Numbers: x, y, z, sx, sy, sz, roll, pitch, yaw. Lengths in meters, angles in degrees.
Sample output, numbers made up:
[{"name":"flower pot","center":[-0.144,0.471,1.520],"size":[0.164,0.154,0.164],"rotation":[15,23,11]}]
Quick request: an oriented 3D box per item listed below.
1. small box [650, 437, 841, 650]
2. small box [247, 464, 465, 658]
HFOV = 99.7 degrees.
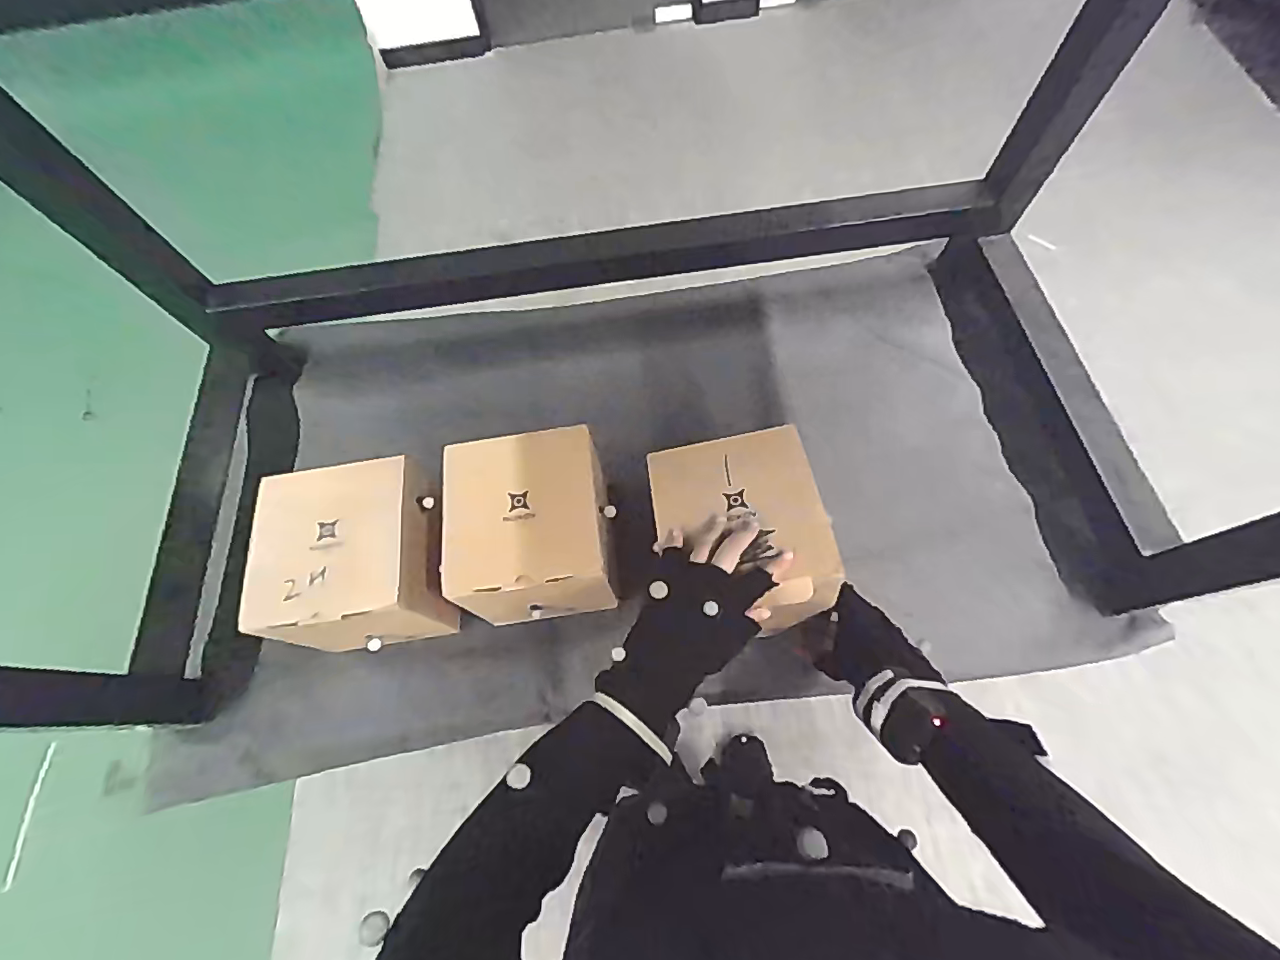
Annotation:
[{"name":"small box","center":[0.114,0.082,0.610],"size":[0.168,0.176,0.179],"rotation":[-11,56,6]},{"name":"small box","center":[-0.321,0.104,0.652],"size":[0.168,0.176,0.179],"rotation":[-9,64,0]}]
